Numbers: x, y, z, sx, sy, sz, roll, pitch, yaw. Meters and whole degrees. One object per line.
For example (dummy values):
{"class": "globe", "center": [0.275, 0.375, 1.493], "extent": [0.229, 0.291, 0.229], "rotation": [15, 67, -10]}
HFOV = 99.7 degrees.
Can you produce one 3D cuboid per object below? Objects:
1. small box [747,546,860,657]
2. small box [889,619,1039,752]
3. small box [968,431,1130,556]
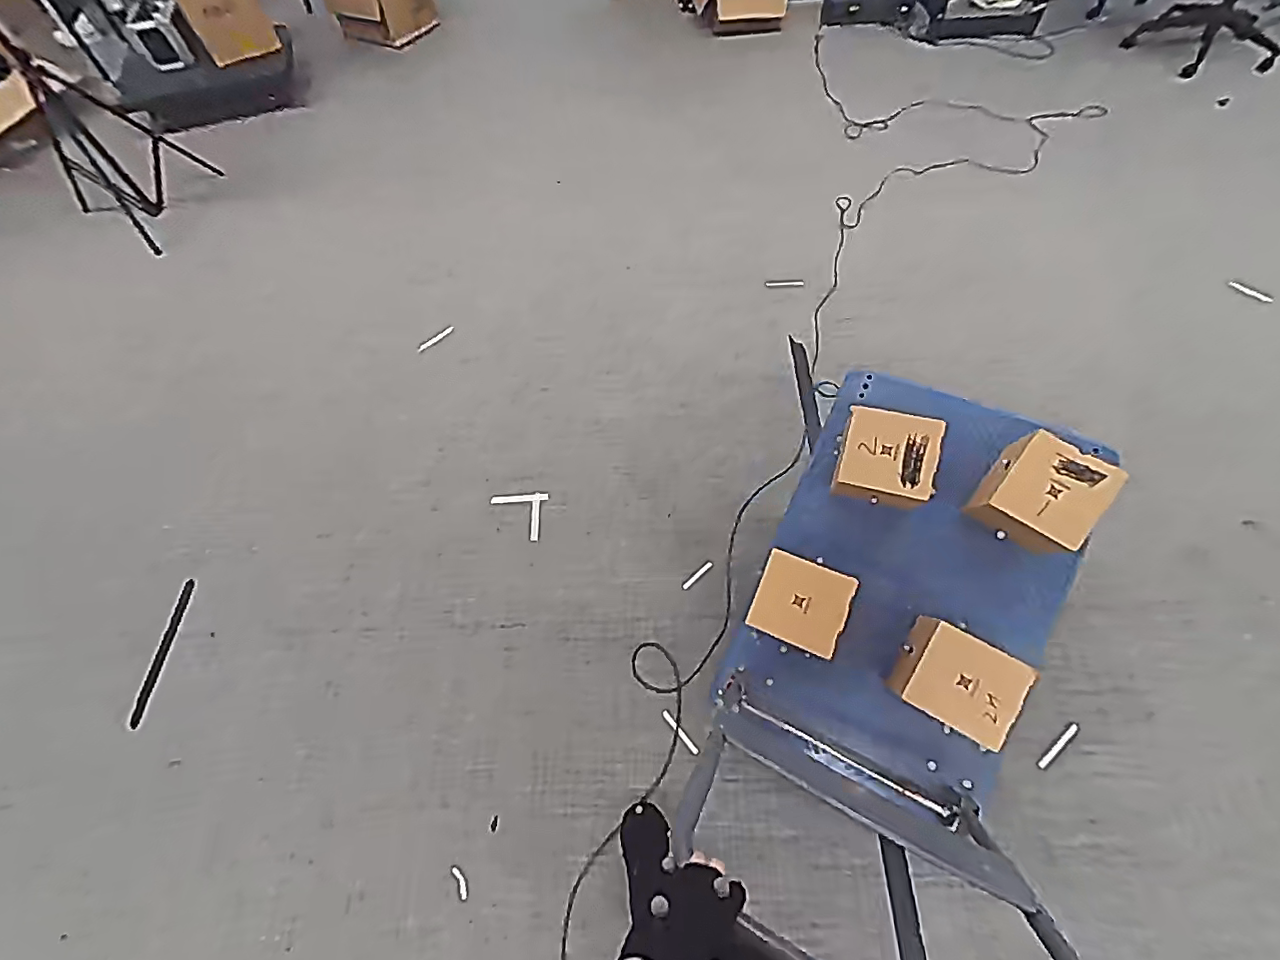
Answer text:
{"class": "small box", "center": [0.339, 0.254, 1.145], "extent": [0.179, 0.176, 0.168], "rotation": [21, 85, 15]}
{"class": "small box", "center": [0.612, 0.385, 1.050], "extent": [0.179, 0.176, 0.168], "rotation": [29, 88, 18]}
{"class": "small box", "center": [0.793, 0.034, 1.073], "extent": [0.168, 0.176, 0.179], "rotation": [35, 90, 18]}
